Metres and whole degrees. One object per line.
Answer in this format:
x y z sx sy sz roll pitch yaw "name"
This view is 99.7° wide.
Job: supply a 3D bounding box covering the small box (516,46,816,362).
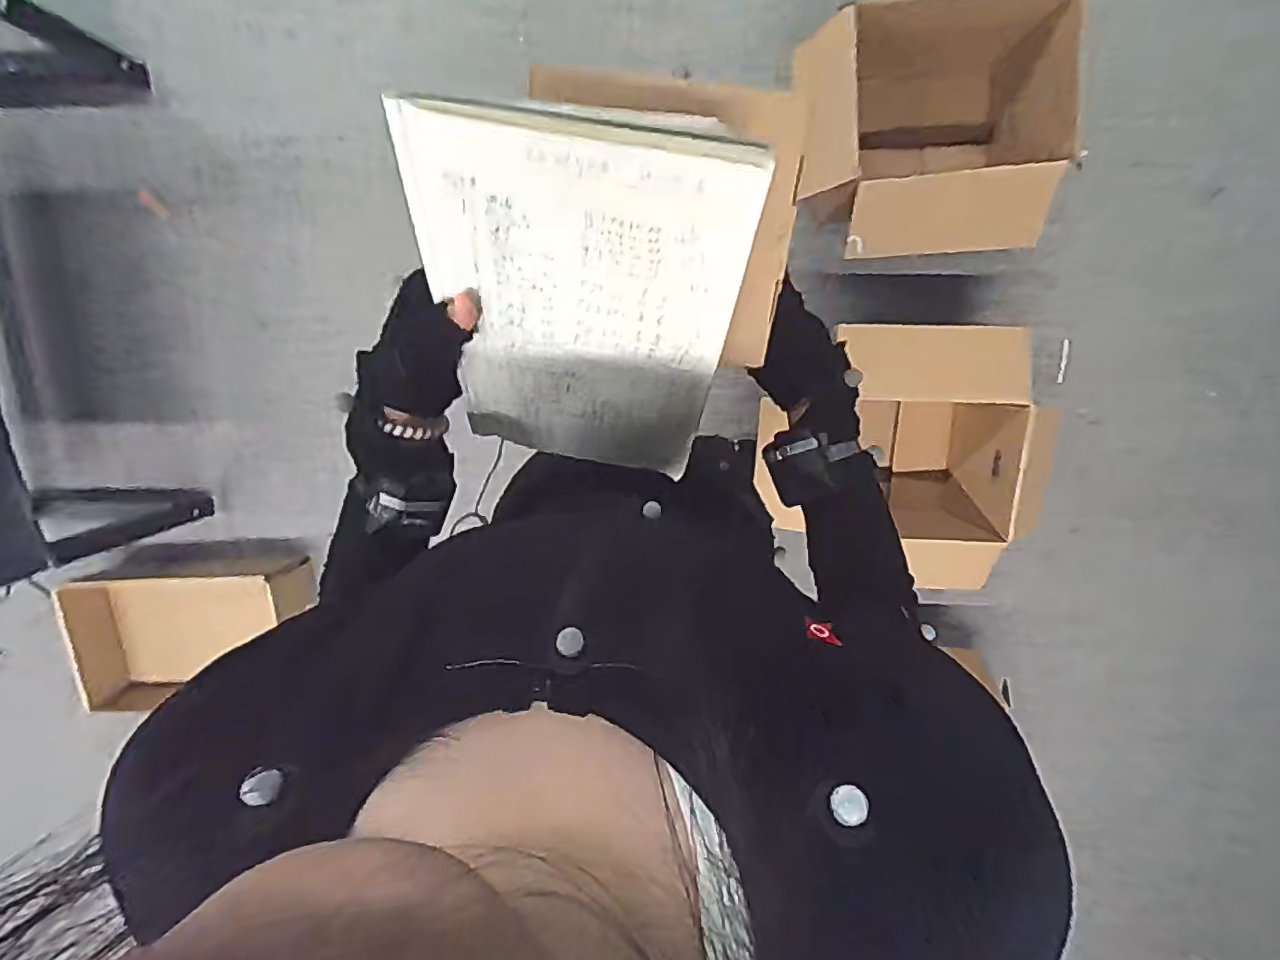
0.011 -0.199 0.422 0.179 0.176 0.168 7 112 -2 "small box"
